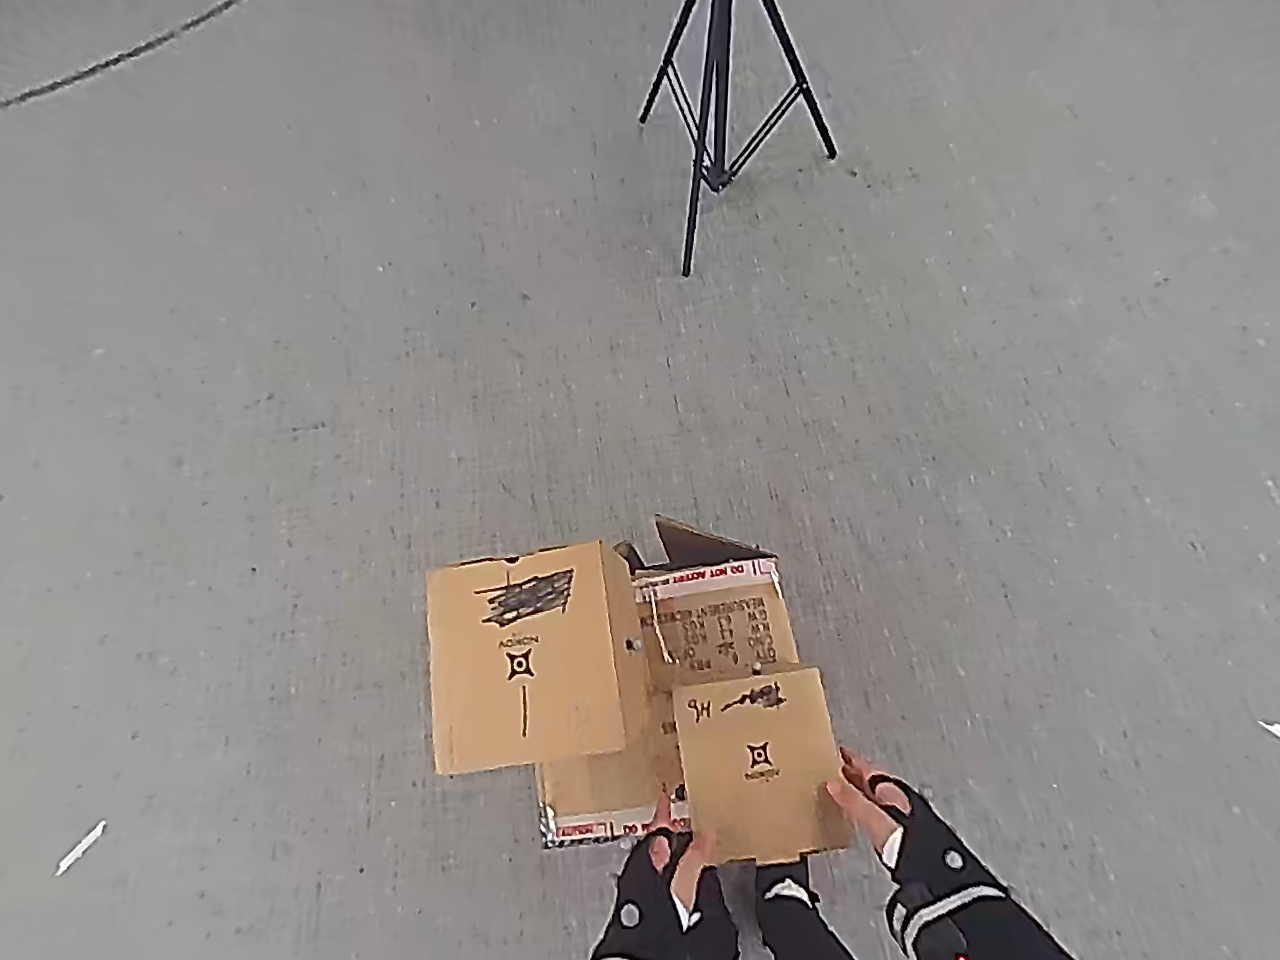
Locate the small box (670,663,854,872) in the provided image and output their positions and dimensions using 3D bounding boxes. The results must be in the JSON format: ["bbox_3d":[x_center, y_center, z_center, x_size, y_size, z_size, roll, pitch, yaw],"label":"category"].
[{"bbox_3d":[0.132,0.324,0.644,0.168,0.176,0.179,-9,74,2],"label":"small box"}]

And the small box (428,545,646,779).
[{"bbox_3d":[-0.093,0.174,0.541,0.168,0.176,0.179,-11,74,5],"label":"small box"}]
